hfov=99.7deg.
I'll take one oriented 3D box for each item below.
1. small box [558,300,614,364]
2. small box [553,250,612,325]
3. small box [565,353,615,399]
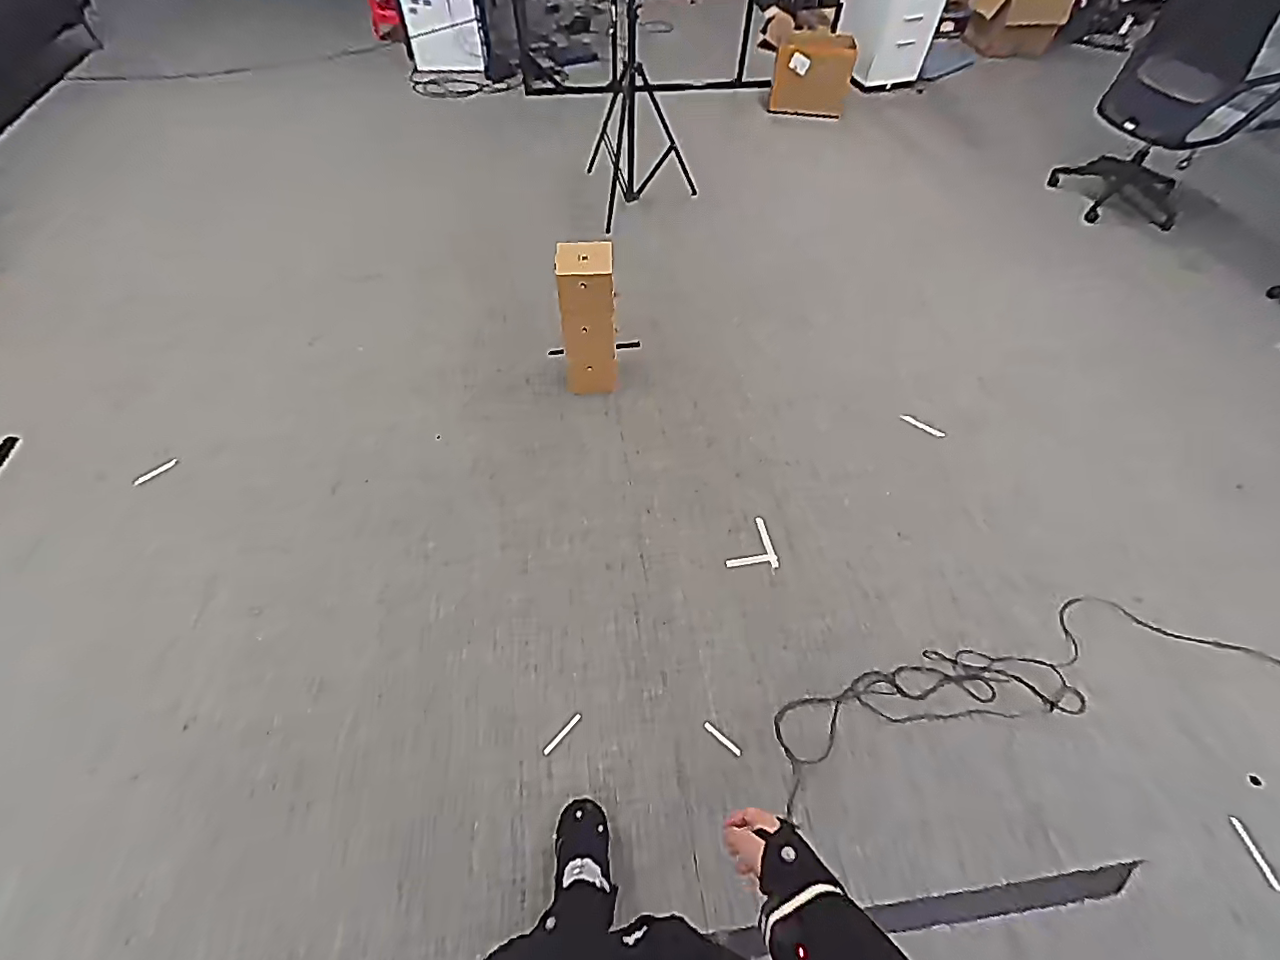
[{"bbox_3d":[-0.181,-0.515,1.864,0.179,0.176,0.168,0,56,-1],"label":"small box"},{"bbox_3d":[-0.180,-0.614,1.735,0.179,0.176,0.168,-2,56,-3],"label":"small box"},{"bbox_3d":[-0.181,-0.415,1.994,0.179,0.176,0.168,-2,55,-3],"label":"small box"}]
